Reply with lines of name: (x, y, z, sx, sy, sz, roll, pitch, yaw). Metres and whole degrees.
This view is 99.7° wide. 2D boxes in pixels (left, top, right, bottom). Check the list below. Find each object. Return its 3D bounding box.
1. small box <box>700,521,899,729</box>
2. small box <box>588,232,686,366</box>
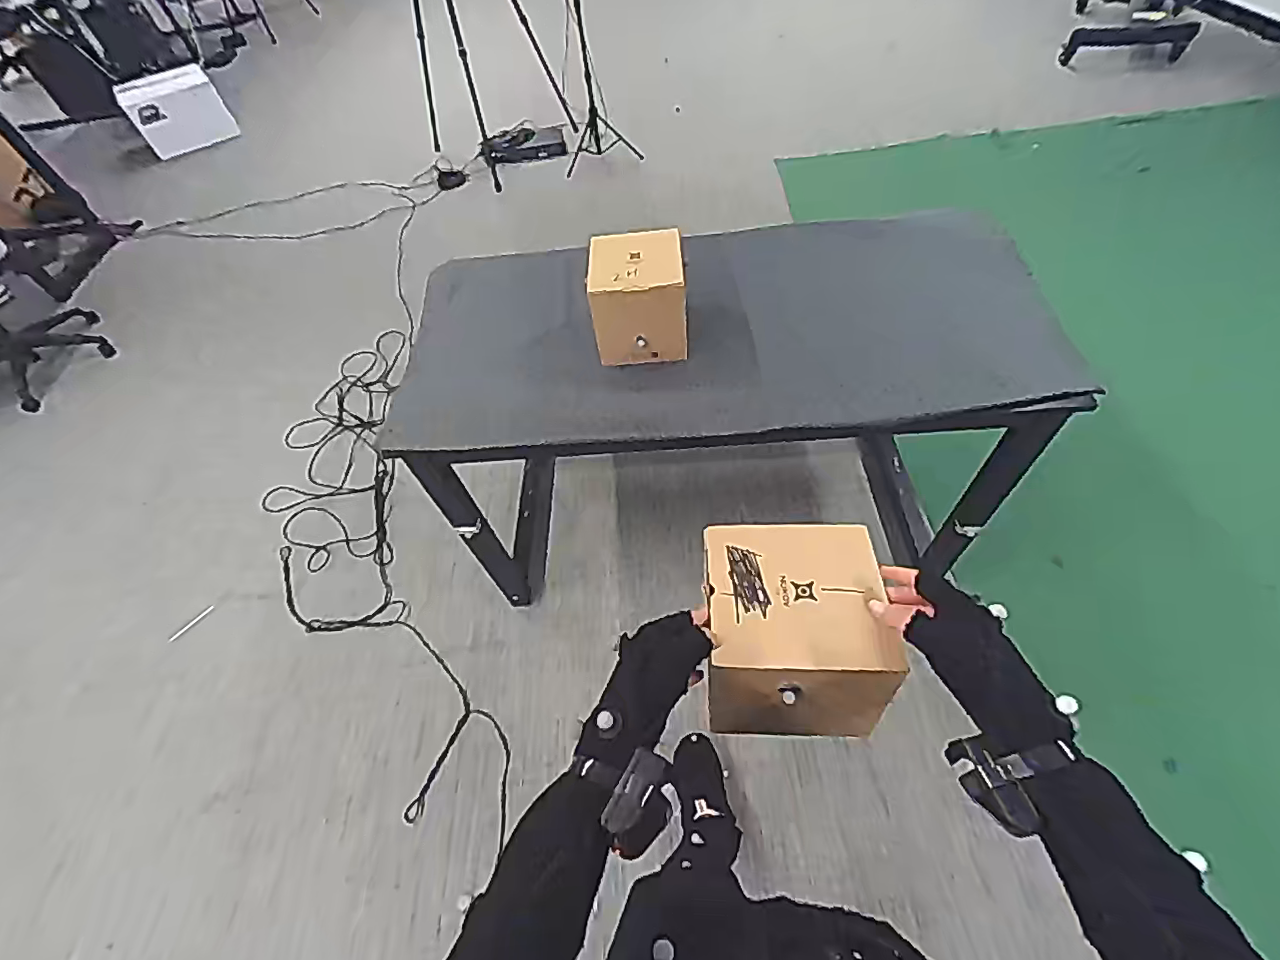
small box: (0.157, 0.161, 0.597, 0.179, 0.176, 0.168, -1, 47, 6)
small box: (0.000, -0.337, 1.019, 0.168, 0.176, 0.179, -4, 54, 5)
